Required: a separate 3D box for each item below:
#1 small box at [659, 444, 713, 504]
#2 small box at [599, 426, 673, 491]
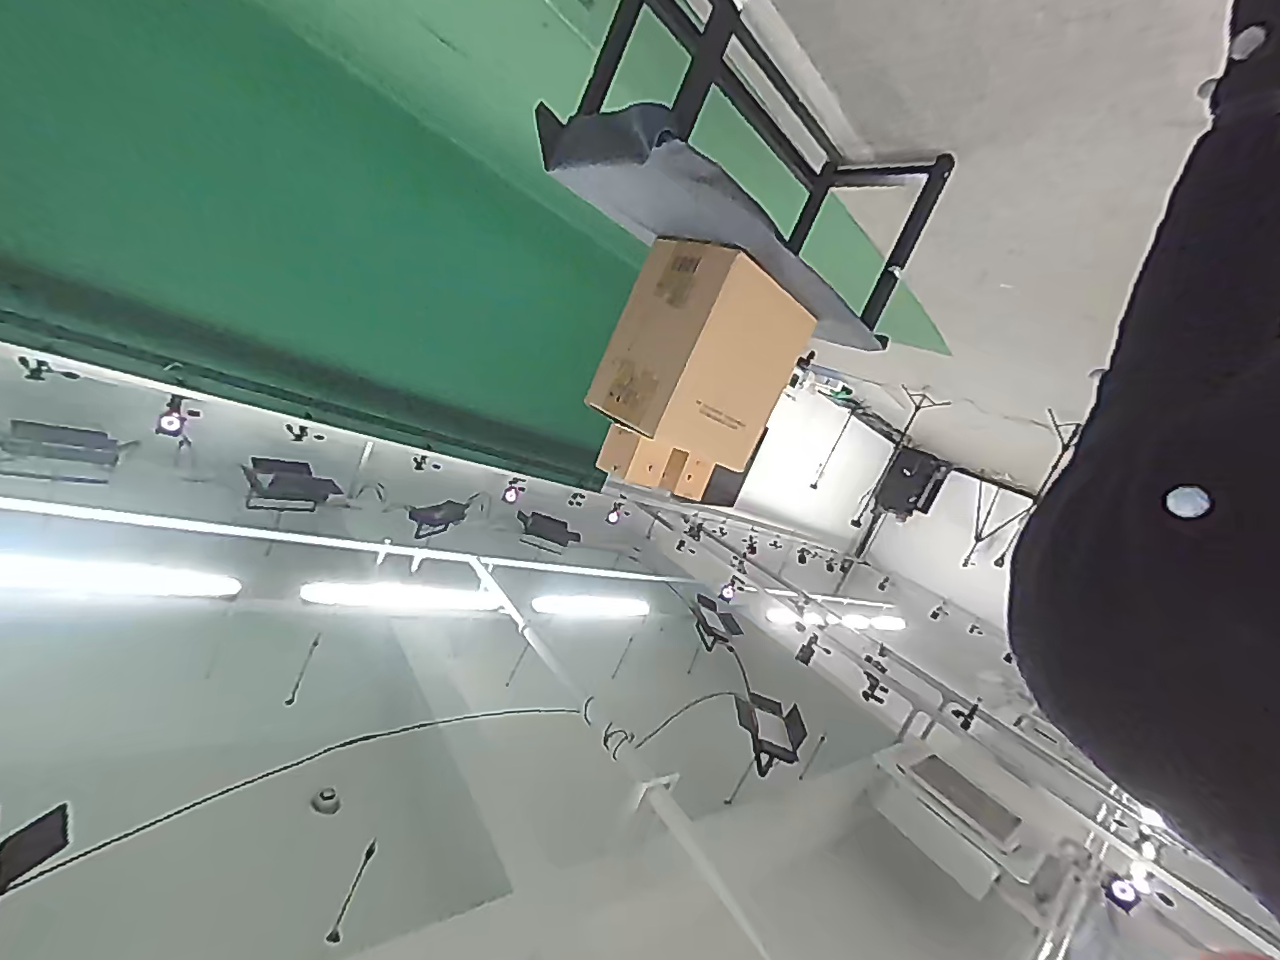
[{"bbox_3d":[0.165,-0.026,2.109,0.168,0.176,0.179,19,-173,-45],"label":"small box"},{"bbox_3d":[-0.010,-0.077,1.928,0.179,0.176,0.168,15,-172,-46],"label":"small box"}]
